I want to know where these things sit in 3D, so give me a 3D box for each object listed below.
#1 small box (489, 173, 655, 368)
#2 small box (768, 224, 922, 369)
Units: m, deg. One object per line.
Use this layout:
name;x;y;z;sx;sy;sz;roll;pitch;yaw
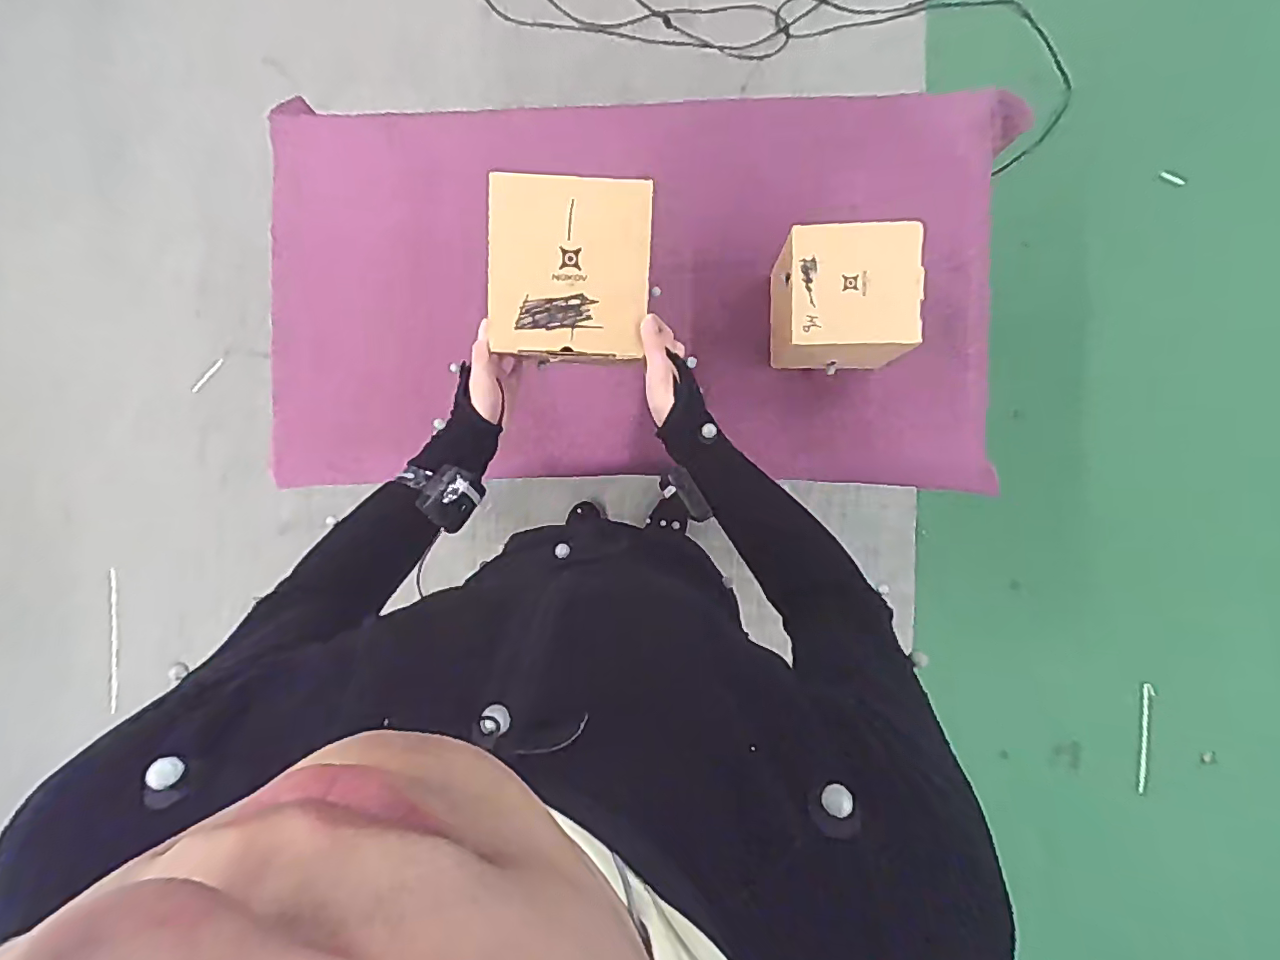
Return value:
small box;-0.071;-0.223;0.621;0.168;0.176;0.179;2;98;-2
small box;0.297;-0.266;0.812;0.179;0.176;0.168;0;90;4
